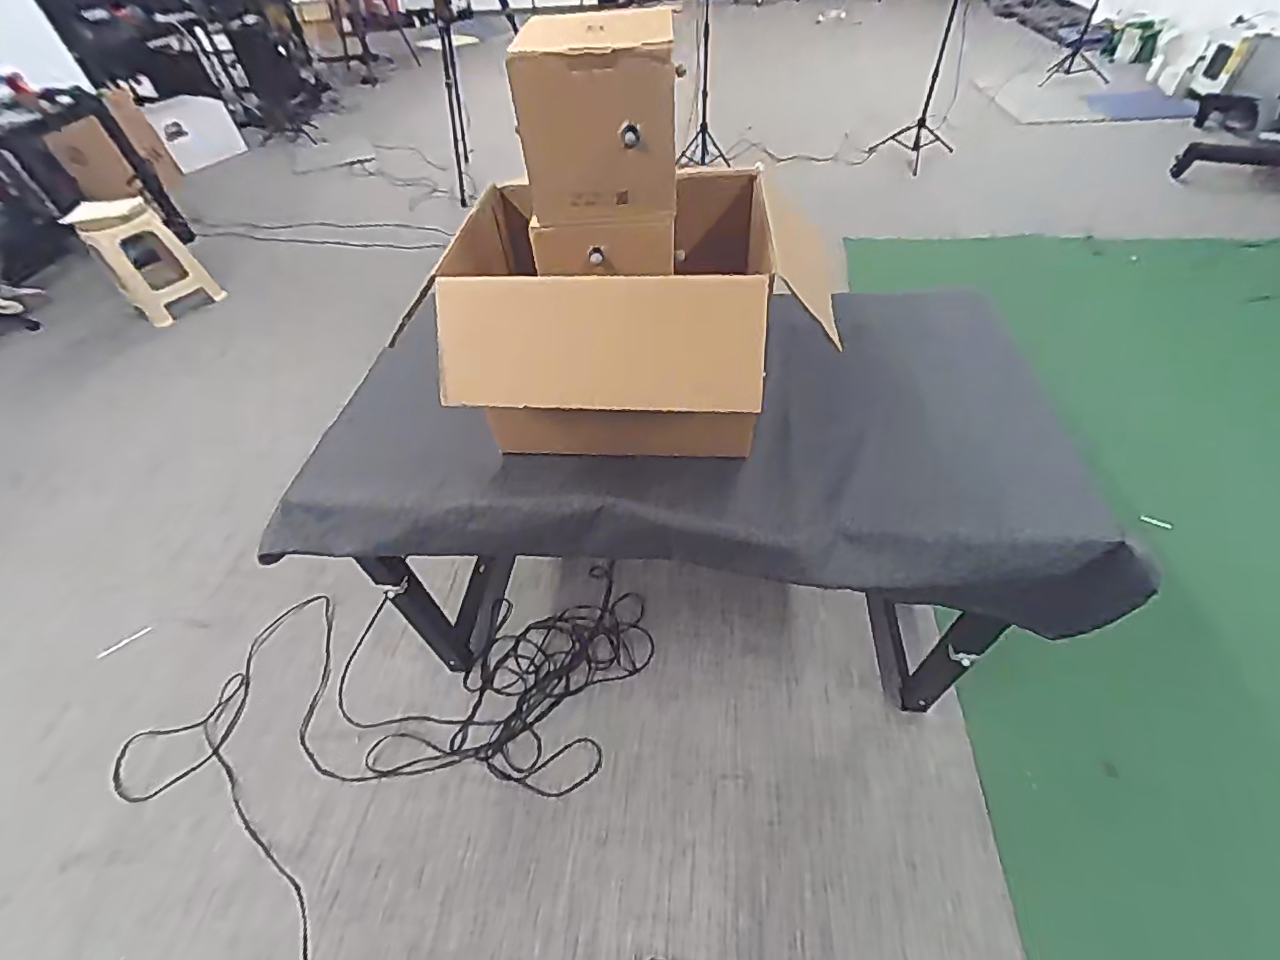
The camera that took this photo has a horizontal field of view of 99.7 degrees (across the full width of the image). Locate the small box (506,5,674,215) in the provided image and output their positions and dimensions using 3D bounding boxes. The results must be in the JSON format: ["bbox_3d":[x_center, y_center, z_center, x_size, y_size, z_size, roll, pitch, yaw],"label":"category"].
[{"bbox_3d":[-0.044,-0.427,0.633,0.168,0.176,0.179,-1,48,2],"label":"small box"}]
